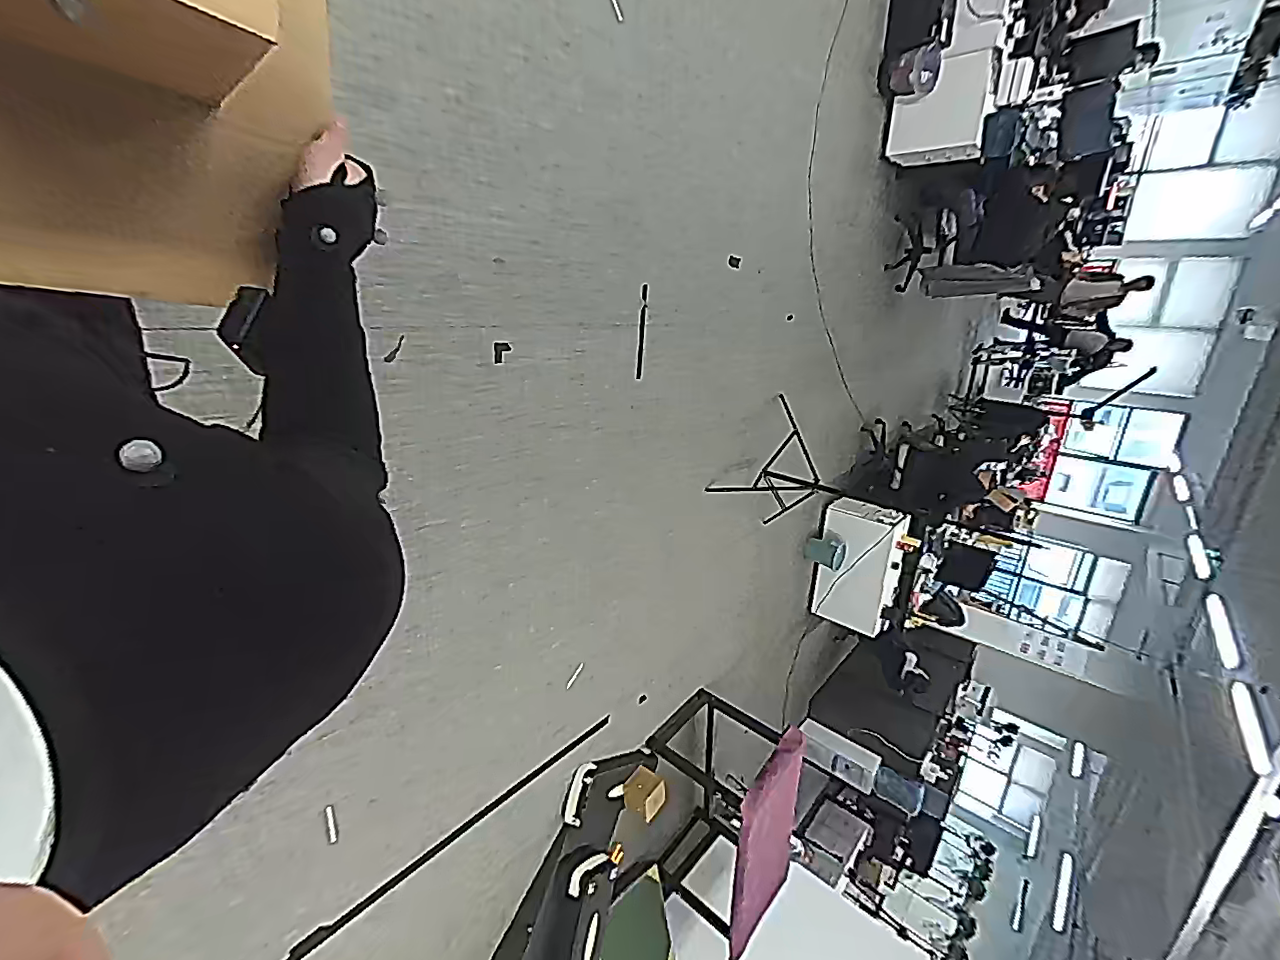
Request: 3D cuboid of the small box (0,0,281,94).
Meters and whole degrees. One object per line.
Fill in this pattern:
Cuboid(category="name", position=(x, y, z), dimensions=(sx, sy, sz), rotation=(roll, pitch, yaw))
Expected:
Cuboid(category="small box", position=(-0.352, -0.376, 0.337), dimensions=(0.179, 0.176, 0.168), rotation=(-8, 108, -47))
